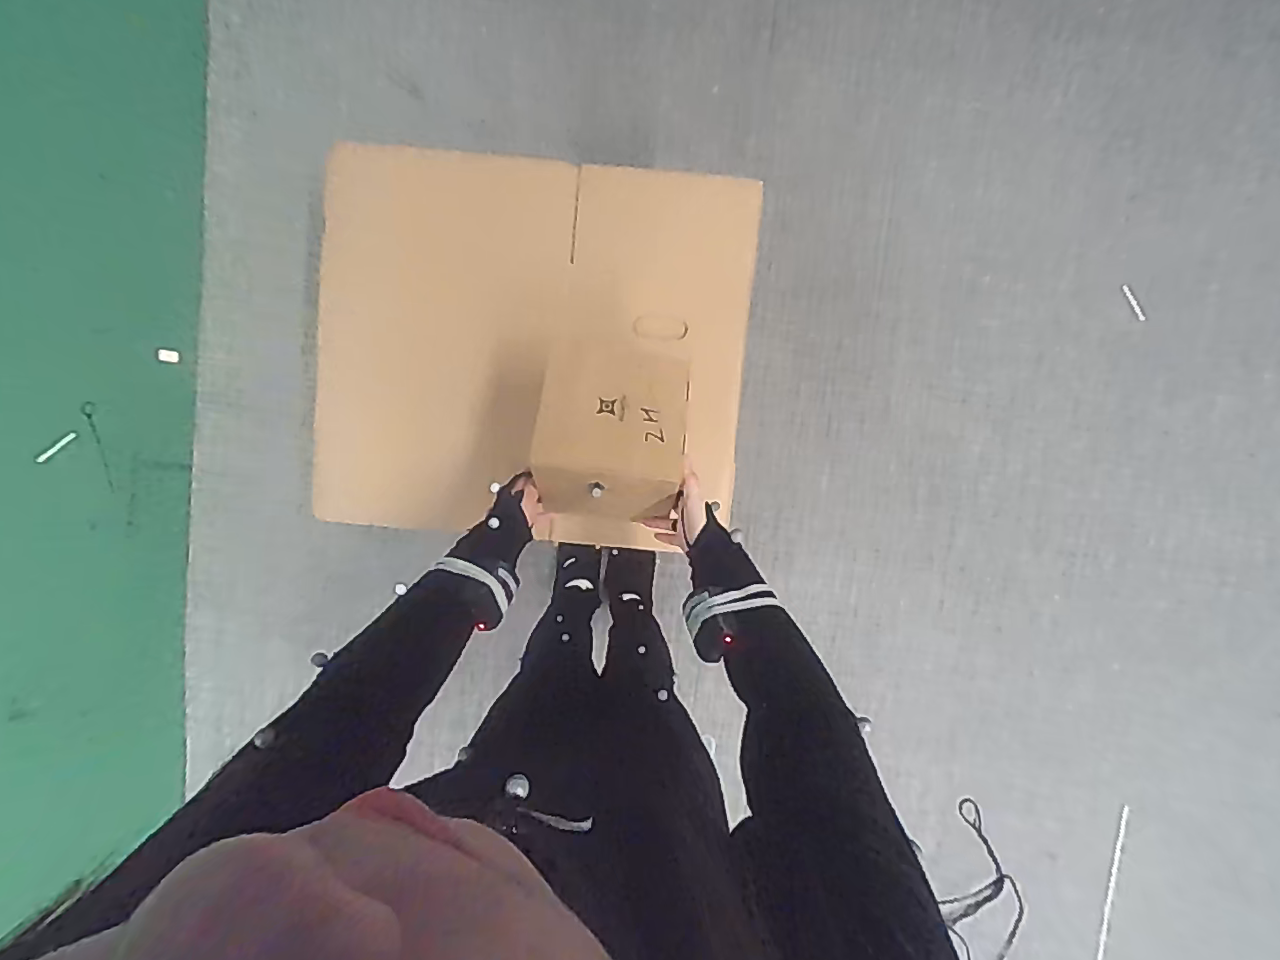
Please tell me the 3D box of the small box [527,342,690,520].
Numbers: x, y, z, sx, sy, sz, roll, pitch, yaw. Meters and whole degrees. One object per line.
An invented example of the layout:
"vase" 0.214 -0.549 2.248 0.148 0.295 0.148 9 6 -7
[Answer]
"small box" -0.038 -0.055 0.712 0.179 0.176 0.168 8 67 -1
